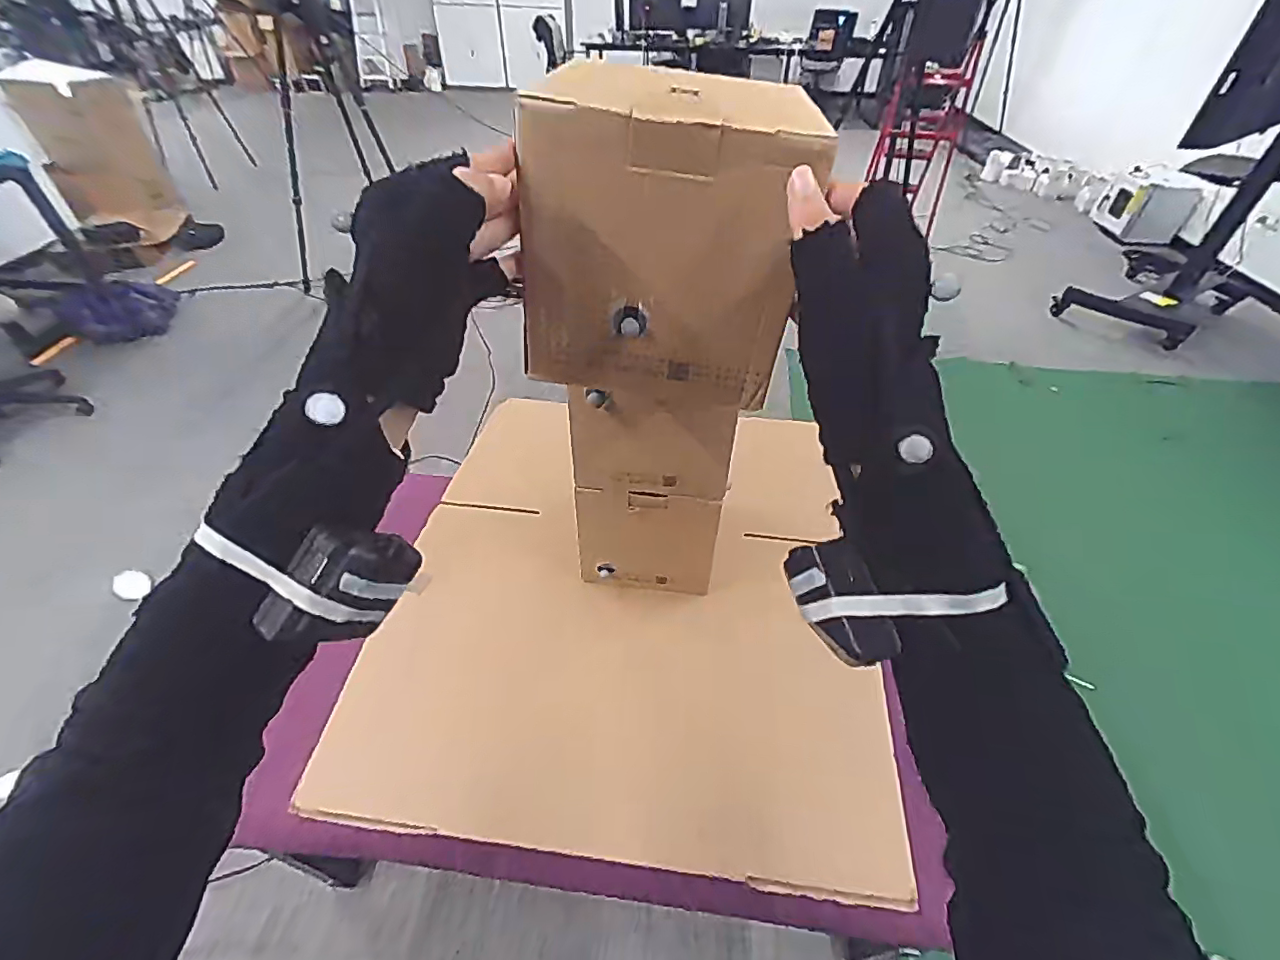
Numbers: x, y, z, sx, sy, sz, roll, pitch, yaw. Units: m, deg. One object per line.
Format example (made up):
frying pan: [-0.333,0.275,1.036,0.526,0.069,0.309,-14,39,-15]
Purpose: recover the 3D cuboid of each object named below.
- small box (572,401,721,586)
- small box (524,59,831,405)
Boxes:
small box: [0.014,0.019,0.711,0.168,0.176,0.179,6,41,4]
small box: [0.019,-0.180,0.394,0.168,0.176,0.179,8,44,1]
